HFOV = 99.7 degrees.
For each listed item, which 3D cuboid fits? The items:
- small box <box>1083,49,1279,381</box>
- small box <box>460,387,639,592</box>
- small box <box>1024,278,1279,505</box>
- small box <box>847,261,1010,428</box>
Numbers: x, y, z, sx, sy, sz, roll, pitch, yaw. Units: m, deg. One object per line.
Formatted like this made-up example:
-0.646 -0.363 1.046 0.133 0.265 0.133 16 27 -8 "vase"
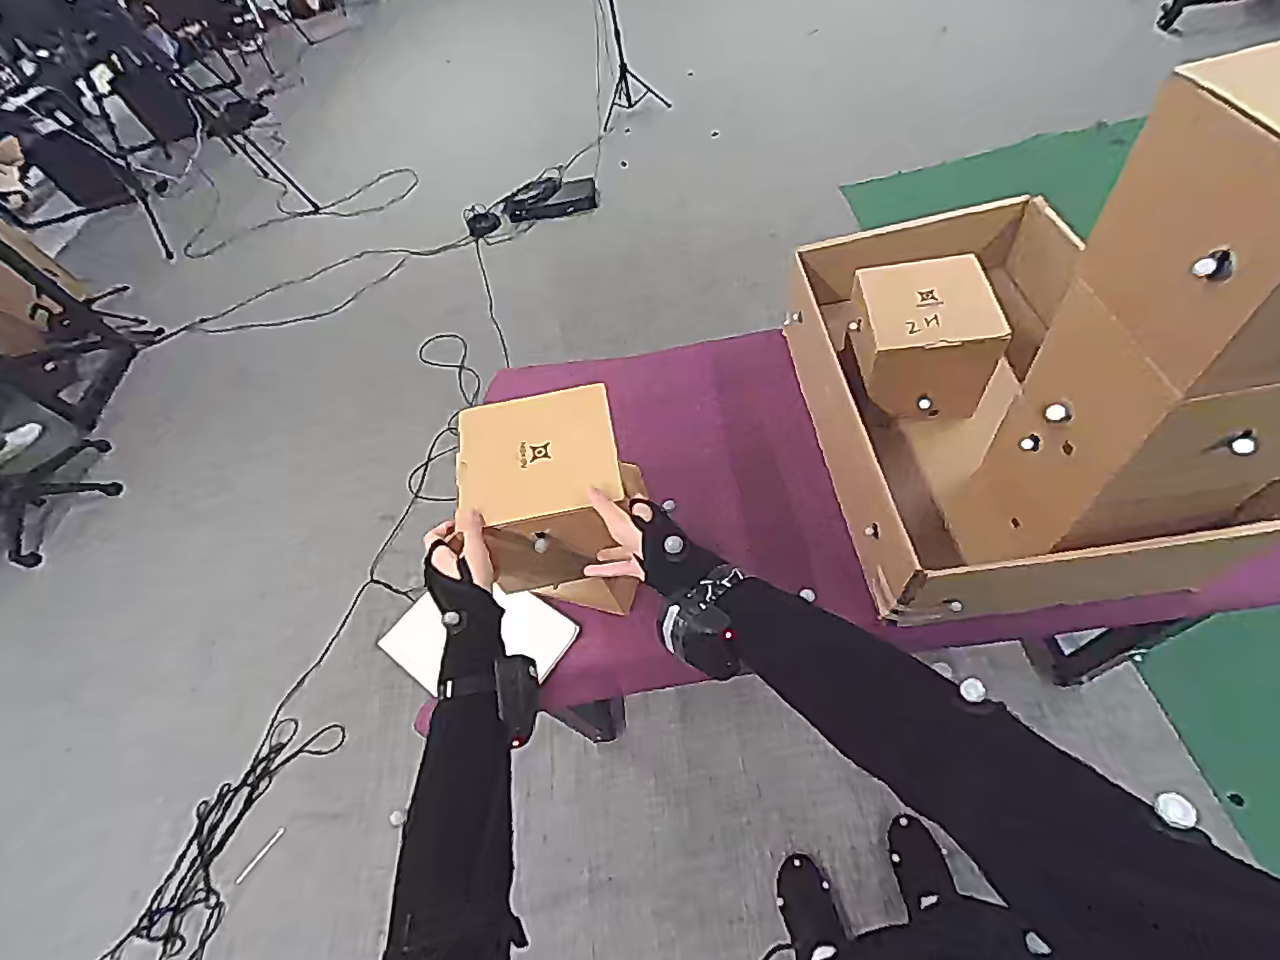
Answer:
0.483 -0.190 0.394 0.168 0.176 0.179 -9 54 9 "small box"
-0.100 0.017 0.651 0.179 0.176 0.168 -12 56 0 "small box"
0.521 -0.094 0.520 0.179 0.176 0.168 -10 54 10 "small box"
0.420 -0.201 0.824 0.168 0.176 0.179 -4 56 12 "small box"
